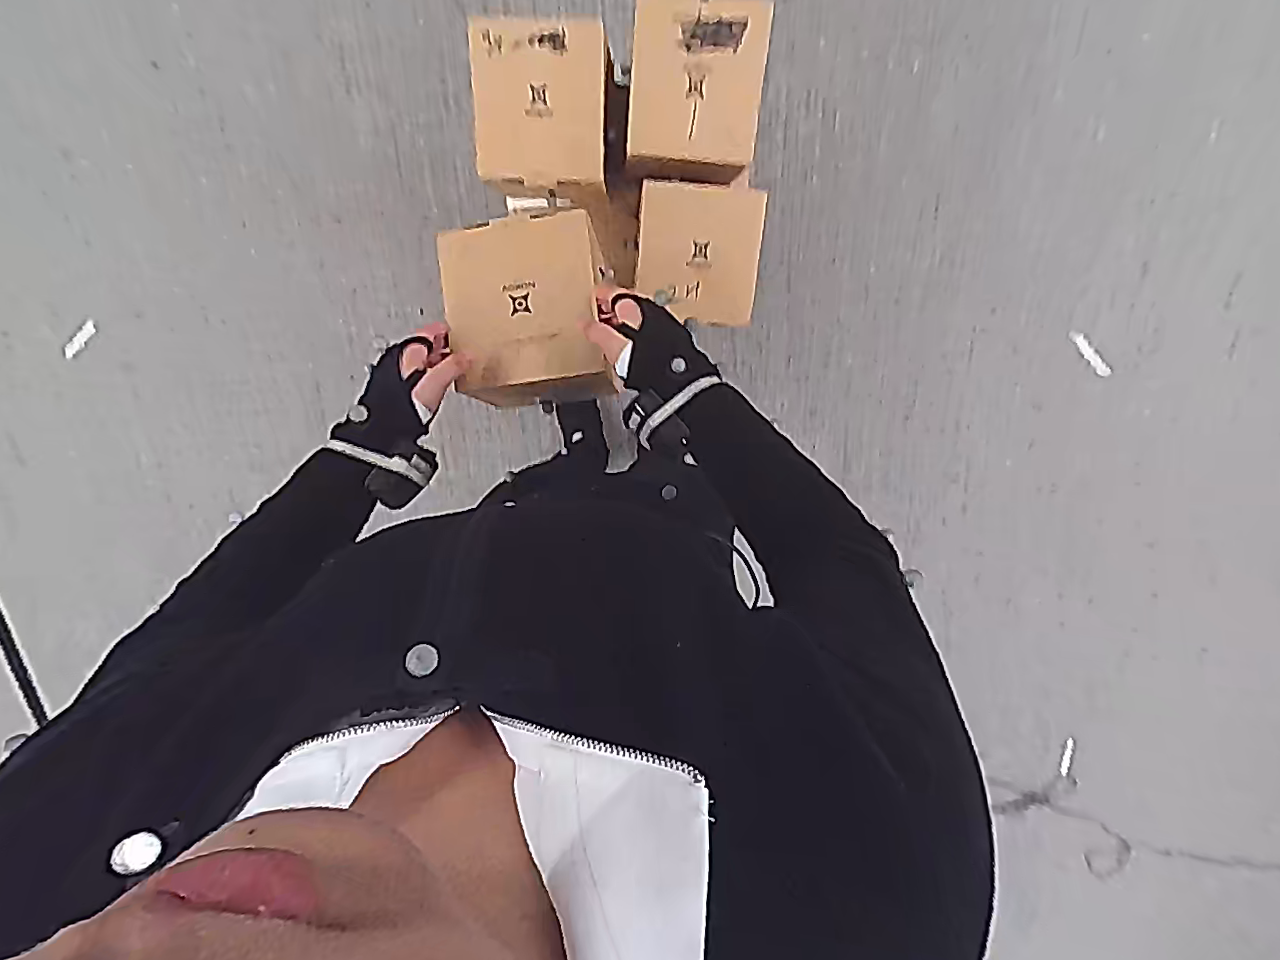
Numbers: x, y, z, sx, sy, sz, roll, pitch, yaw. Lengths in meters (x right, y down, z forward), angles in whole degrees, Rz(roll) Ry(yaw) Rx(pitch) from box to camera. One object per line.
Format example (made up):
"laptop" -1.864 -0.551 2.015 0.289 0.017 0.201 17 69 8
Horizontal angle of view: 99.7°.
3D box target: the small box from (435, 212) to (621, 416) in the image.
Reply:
"small box" -0.120 -0.181 0.640 0.168 0.176 0.179 -8 90 4
